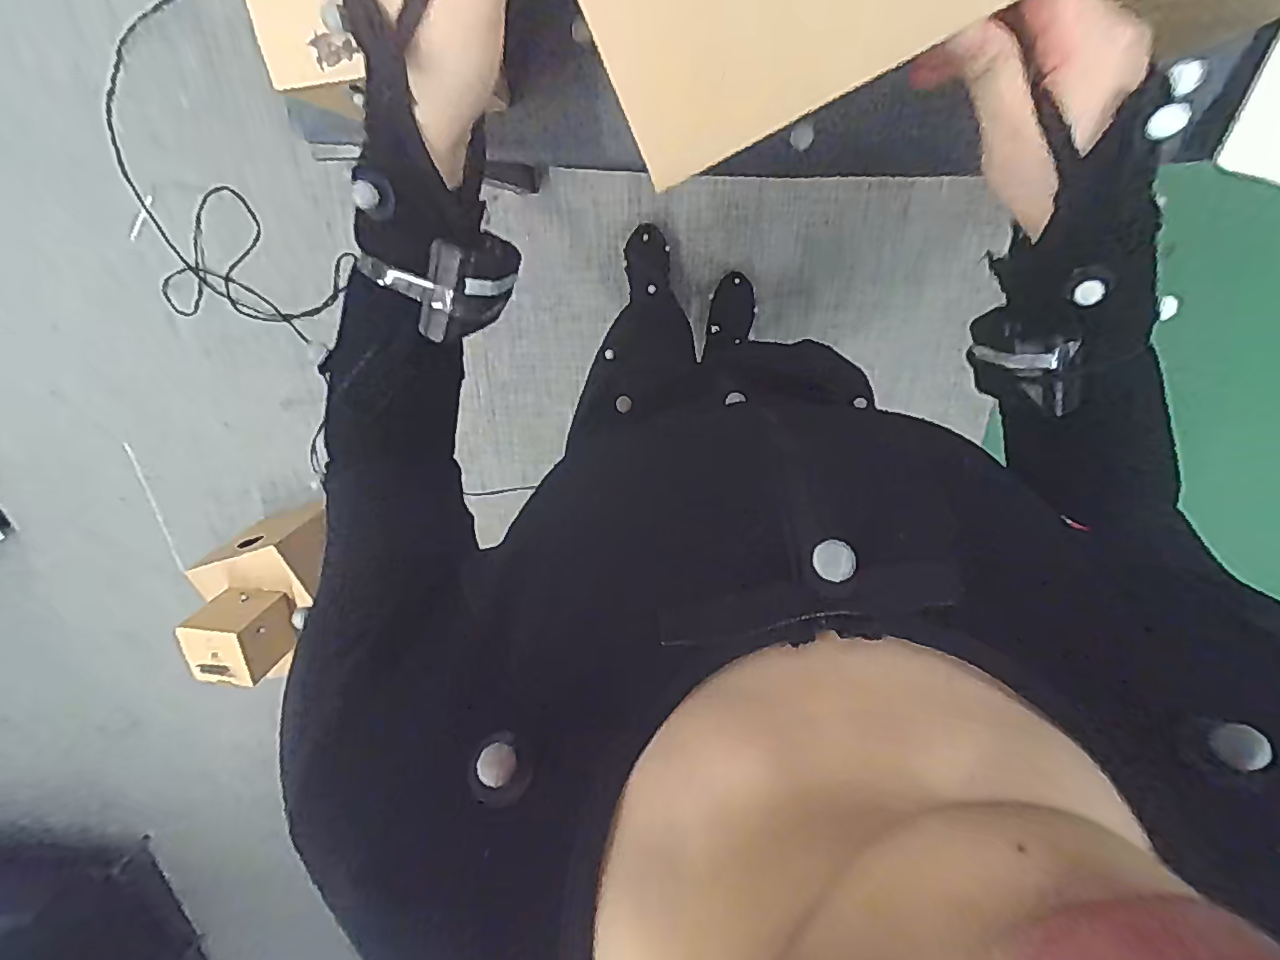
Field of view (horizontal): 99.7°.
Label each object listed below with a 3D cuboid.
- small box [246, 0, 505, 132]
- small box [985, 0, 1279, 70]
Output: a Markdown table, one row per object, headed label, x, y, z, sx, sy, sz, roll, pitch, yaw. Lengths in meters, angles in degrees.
| label | x | y | z | sx | sy | sz | roll | pitch | yaw |
| --- | --- | --- | --- | --- | --- | --- | --- | --- | --- |
| small box | -0.243 | -0.454 | 0.508 | 0.168 | 0.176 | 0.179 | -4 | 113 | 7 |
| small box | 0.422 | -0.473 | 0.431 | 0.168 | 0.176 | 0.179 | 16 | 114 | -1 |
